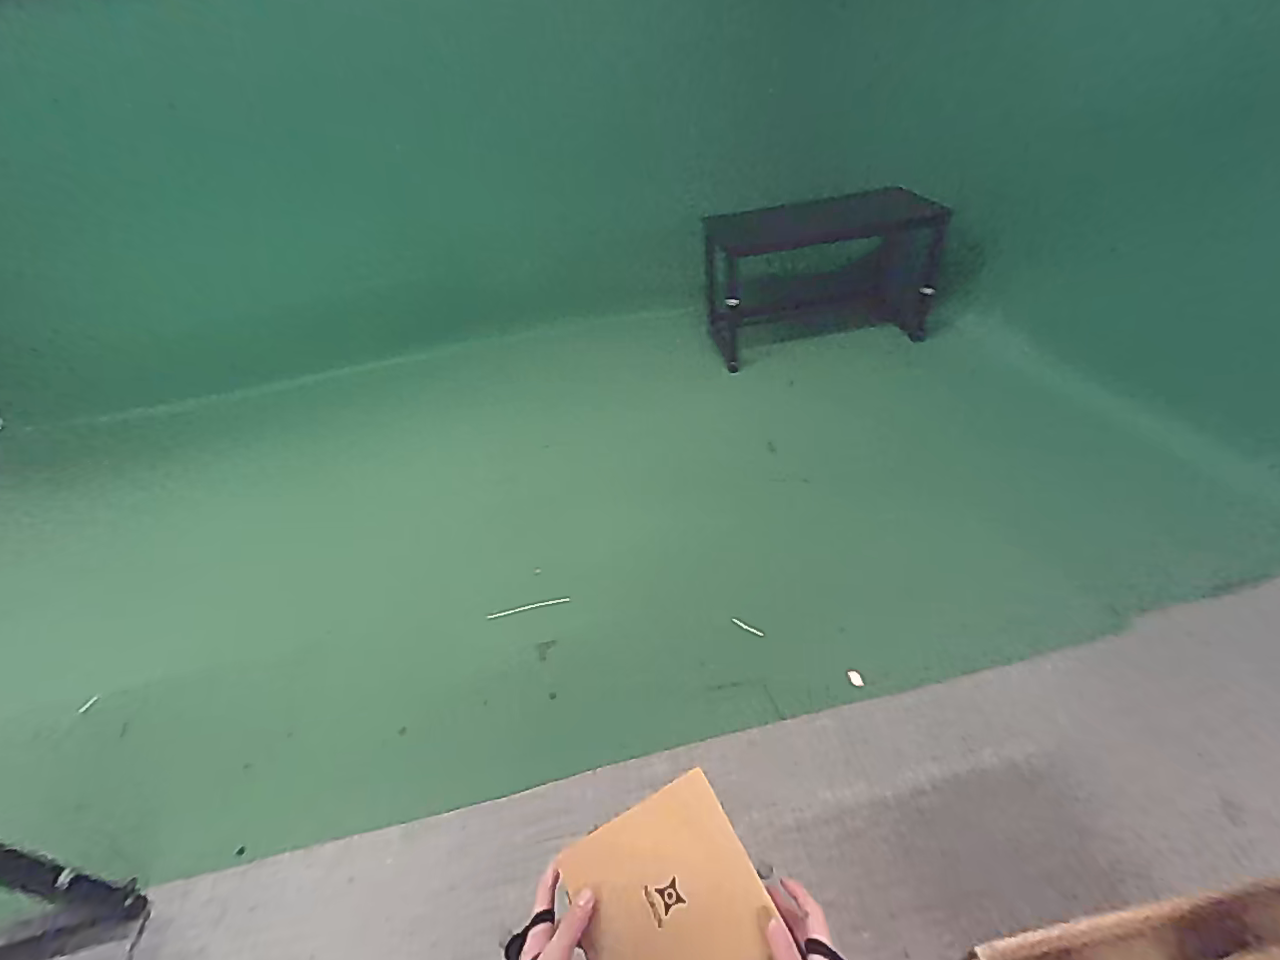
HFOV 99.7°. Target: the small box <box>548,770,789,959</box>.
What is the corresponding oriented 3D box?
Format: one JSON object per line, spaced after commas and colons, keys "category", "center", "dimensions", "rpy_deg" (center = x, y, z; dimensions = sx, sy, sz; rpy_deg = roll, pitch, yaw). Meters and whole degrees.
{"category": "small box", "center": [0.034, 0.440, 0.564], "dimensions": [0.179, 0.176, 0.168], "rpy_deg": [-30, 51, -8]}
